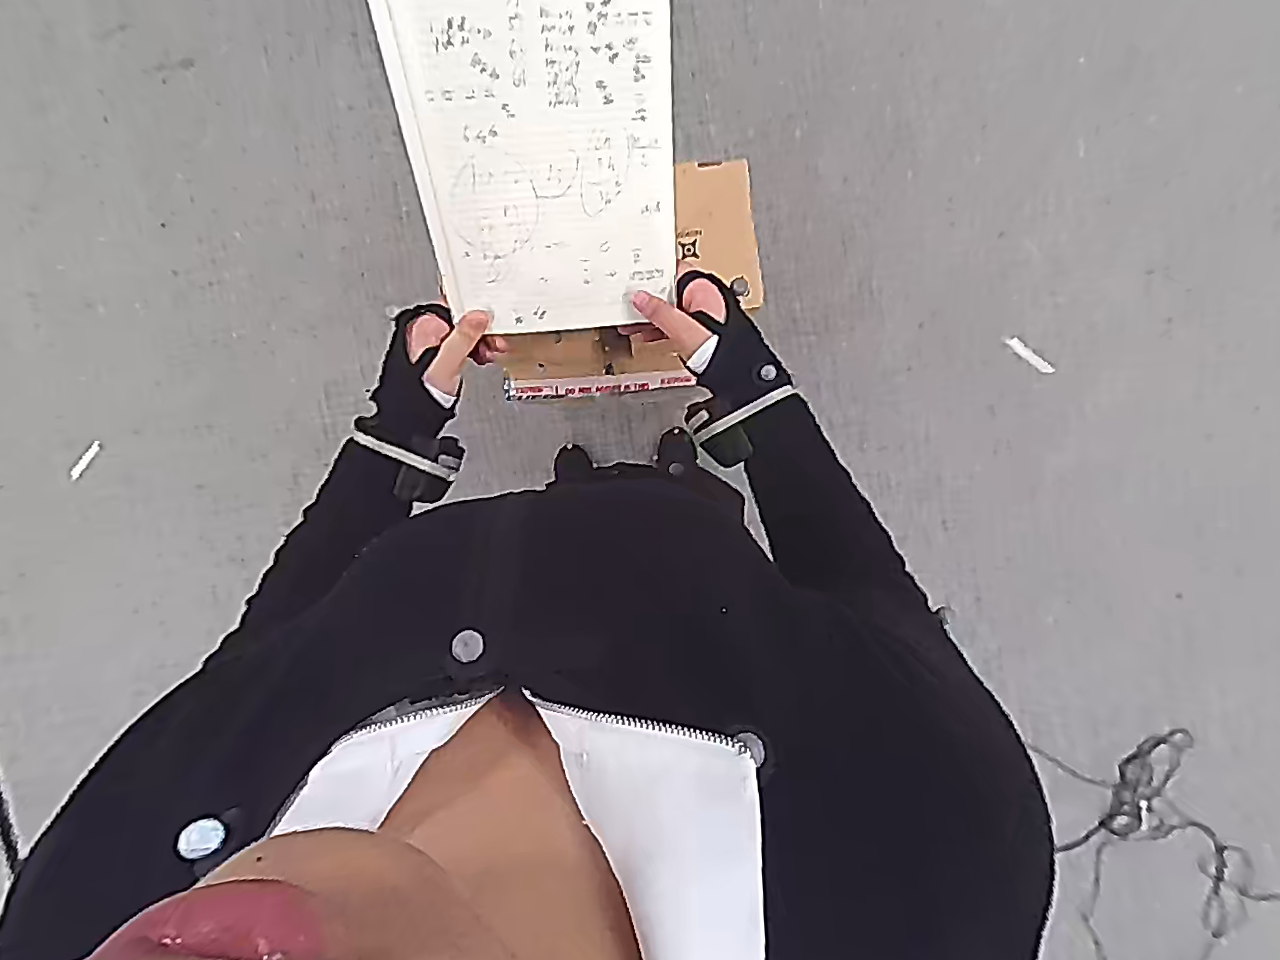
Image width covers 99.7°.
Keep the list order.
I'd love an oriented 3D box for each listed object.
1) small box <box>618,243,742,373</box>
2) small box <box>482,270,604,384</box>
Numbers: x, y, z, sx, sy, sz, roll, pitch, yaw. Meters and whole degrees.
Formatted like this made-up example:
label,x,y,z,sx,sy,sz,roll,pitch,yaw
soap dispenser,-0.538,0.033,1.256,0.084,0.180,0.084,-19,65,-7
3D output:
label,x,y,z,sx,sy,sz,roll,pitch,yaw
small box,0.061,-0.280,0.914,0.179,0.176,0.168,-9,96,0
small box,-0.154,-0.252,0.919,0.179,0.176,0.168,-1,97,3
